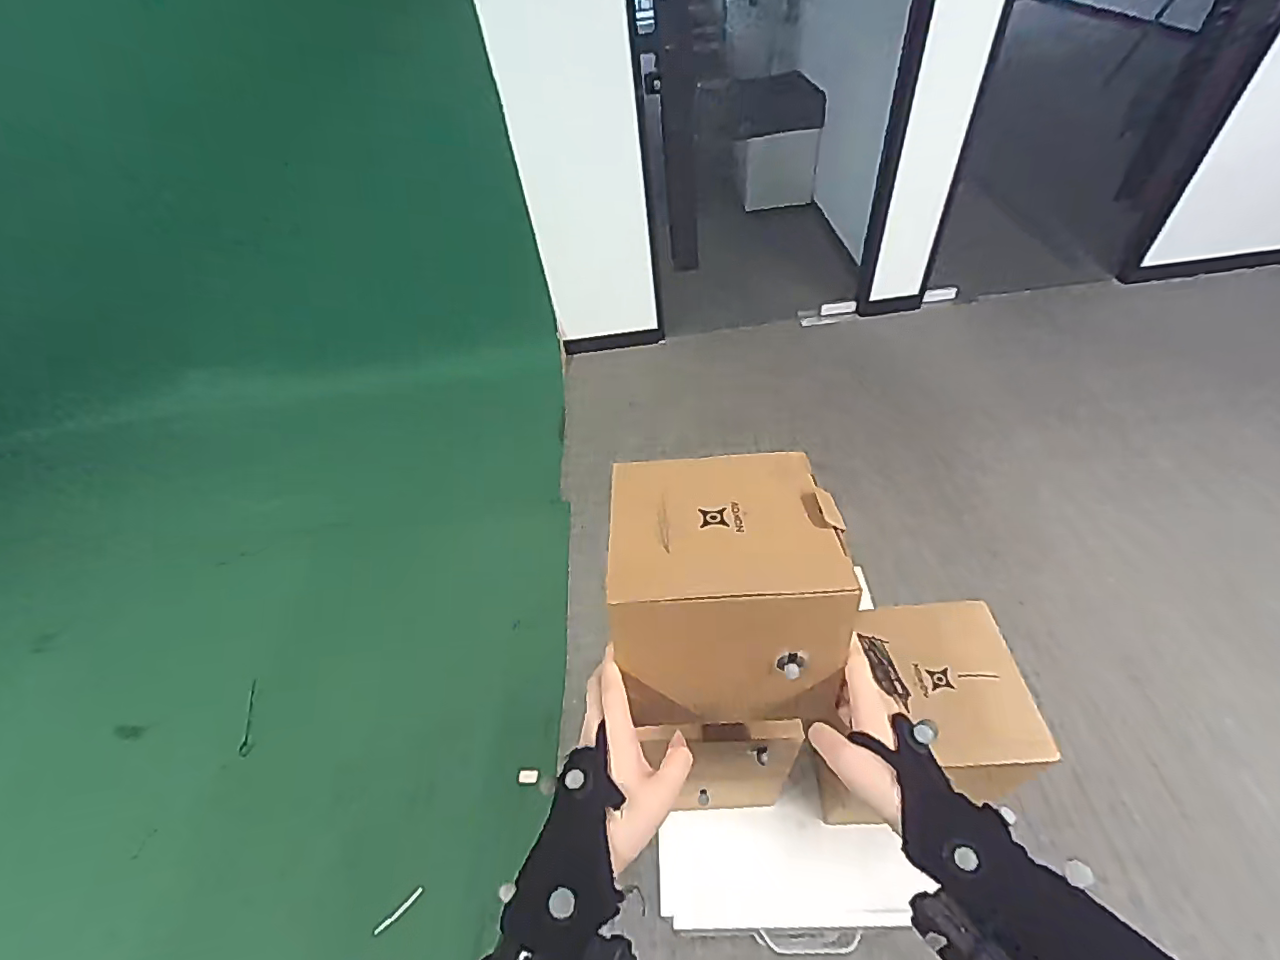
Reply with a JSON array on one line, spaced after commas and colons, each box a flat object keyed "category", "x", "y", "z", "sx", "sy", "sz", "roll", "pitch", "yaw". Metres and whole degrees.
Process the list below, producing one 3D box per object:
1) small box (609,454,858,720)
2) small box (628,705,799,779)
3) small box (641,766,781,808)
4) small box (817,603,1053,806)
[{"category": "small box", "x": 0.071, "y": 0.095, "z": 0.485, "sx": 0.179, "sy": 0.176, "sz": 0.168, "roll": -4, "pitch": 36, "yaw": 3}, {"category": "small box", "x": 0.081, "y": 0.251, "z": 0.654, "sx": 0.179, "sy": 0.176, "sz": 0.168, "roll": -2, "pitch": 47, "yaw": 3}, {"category": "small box", "x": 0.094, "y": 0.360, "z": 0.776, "sx": 0.179, "sy": 0.176, "sz": 0.168, "roll": -4, "pitch": 47, "yaw": 3}, {"category": "small box", "x": 0.305, "y": 0.259, "z": 0.615, "sx": 0.179, "sy": 0.176, "sz": 0.168, "roll": -5, "pitch": 47, "yaw": 4}]
